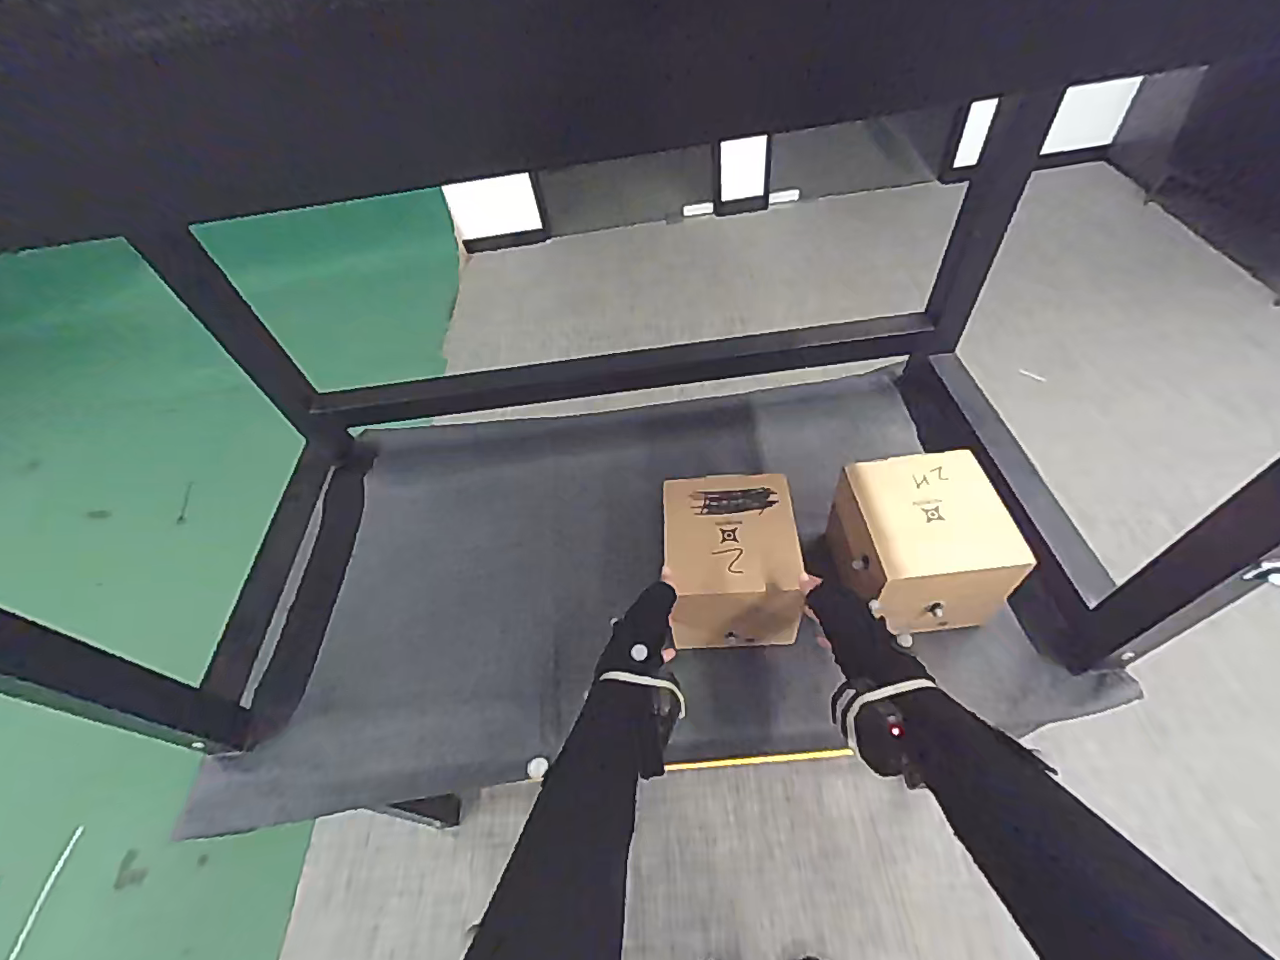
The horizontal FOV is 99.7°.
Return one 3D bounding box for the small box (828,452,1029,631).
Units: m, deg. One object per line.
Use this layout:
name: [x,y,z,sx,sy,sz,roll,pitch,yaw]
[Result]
small box: [0.364,0.090,0.724,0.168,0.176,0.179,-7,50,4]
